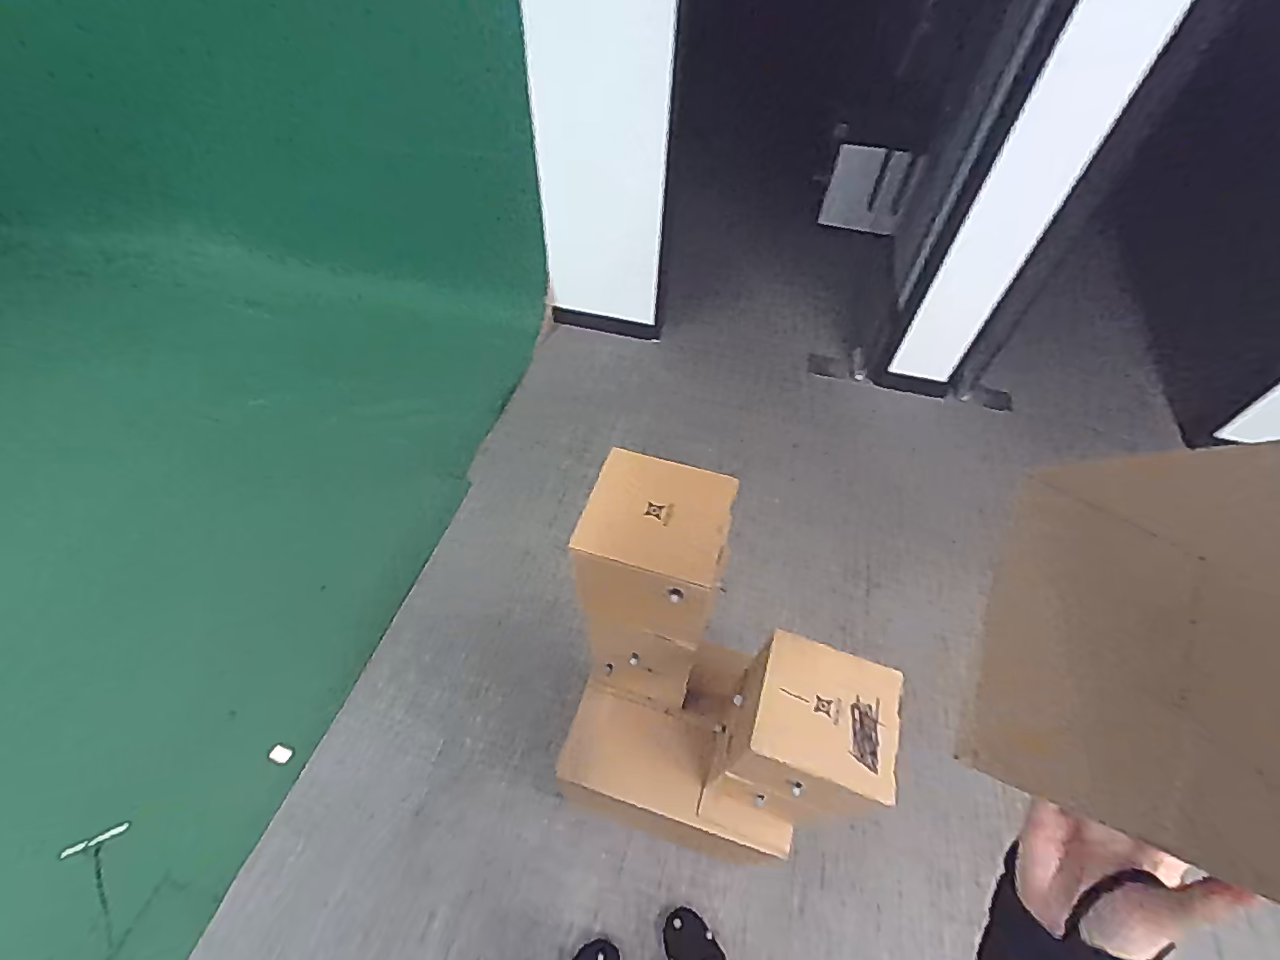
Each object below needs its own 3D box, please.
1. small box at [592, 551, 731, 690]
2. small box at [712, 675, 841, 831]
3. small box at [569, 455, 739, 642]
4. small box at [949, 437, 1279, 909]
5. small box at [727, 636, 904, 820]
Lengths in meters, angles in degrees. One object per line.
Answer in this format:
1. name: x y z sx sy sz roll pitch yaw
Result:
1. small box: 0.030 0.198 0.854 0.168 0.176 0.179 18 54 13
2. small box: 0.224 0.445 0.875 0.179 0.176 0.168 17 55 11
3. small box: 0.020 0.096 0.727 0.179 0.176 0.168 15 53 9
4. small box: 0.279 0.093 0.232 0.176 0.179 0.168 27 75 -13
5. small box: 0.235 0.346 0.745 0.179 0.176 0.168 18 54 11
